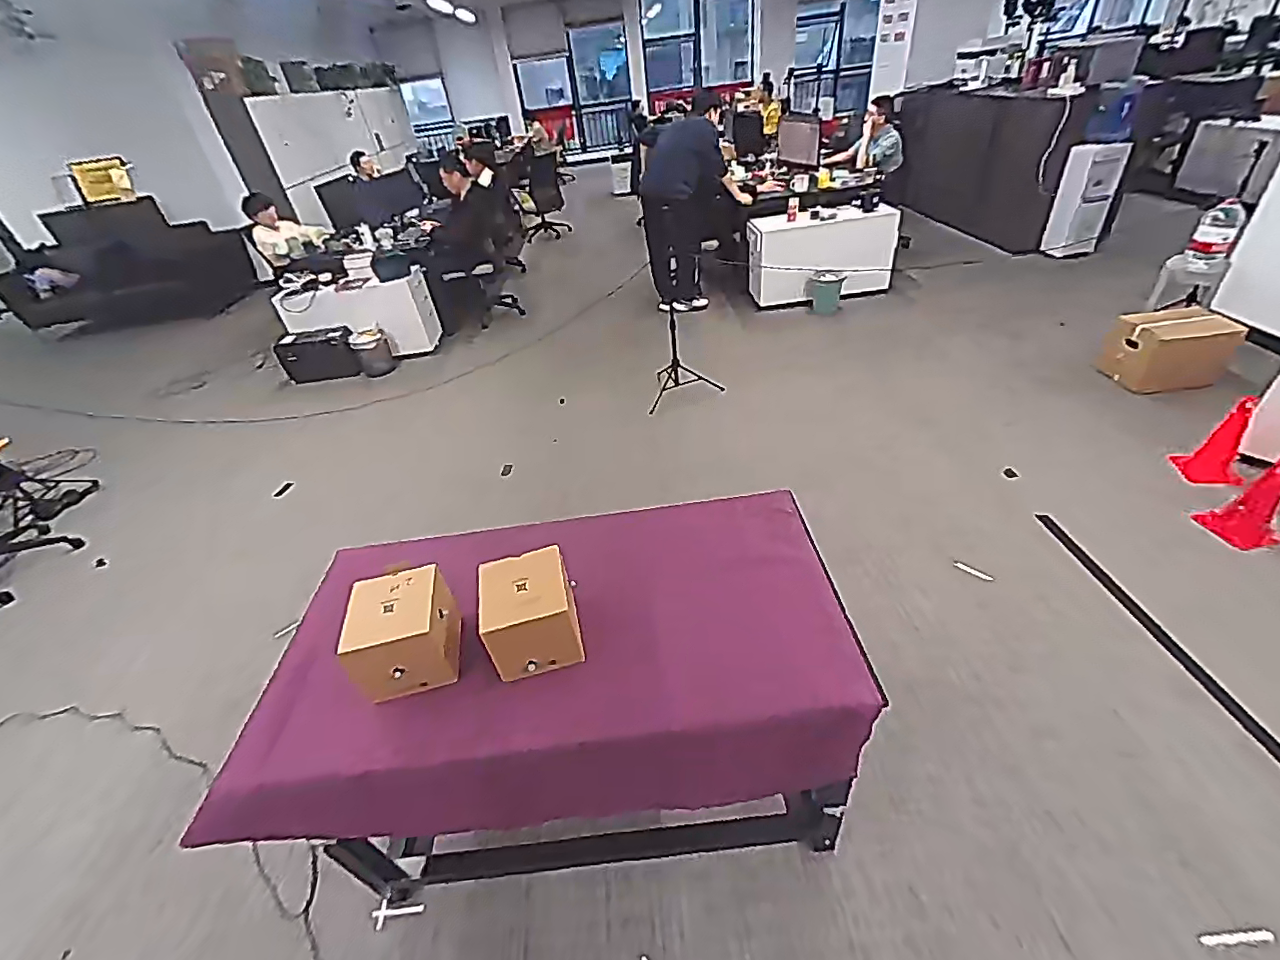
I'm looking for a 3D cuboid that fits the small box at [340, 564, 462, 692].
[{"bbox_3d":[-0.465,0.301,1.085,0.168,0.176,0.179,-12,37,-6],"label":"small box"}]

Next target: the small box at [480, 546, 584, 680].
[{"bbox_3d":[-0.215,0.266,1.088,0.168,0.176,0.179,-13,38,-6],"label":"small box"}]
